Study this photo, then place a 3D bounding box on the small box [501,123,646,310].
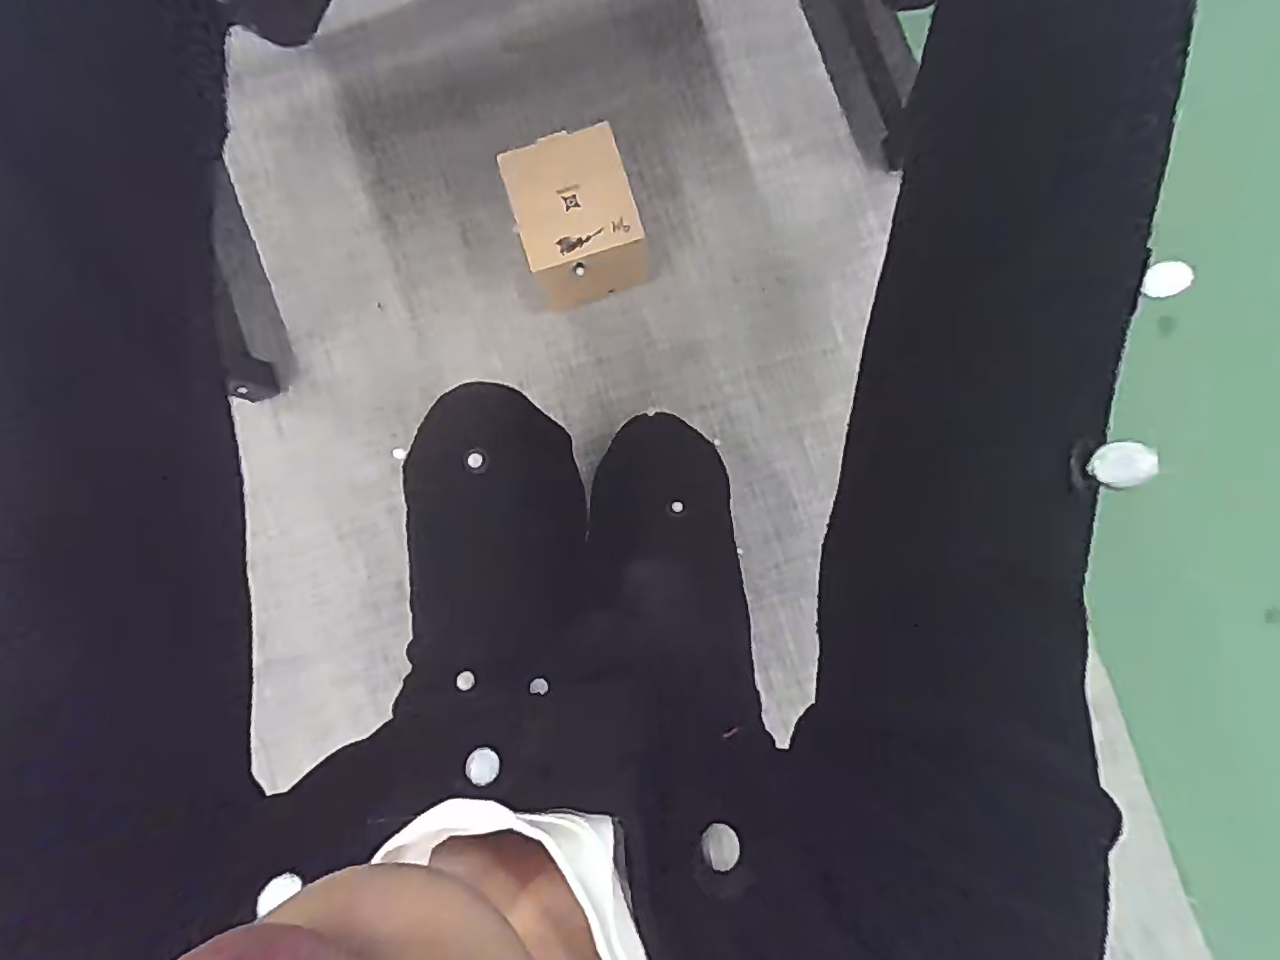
[{"bbox_3d":[-0.093,-0.390,0.827,0.168,0.176,0.179,-17,87,1],"label":"small box"}]
